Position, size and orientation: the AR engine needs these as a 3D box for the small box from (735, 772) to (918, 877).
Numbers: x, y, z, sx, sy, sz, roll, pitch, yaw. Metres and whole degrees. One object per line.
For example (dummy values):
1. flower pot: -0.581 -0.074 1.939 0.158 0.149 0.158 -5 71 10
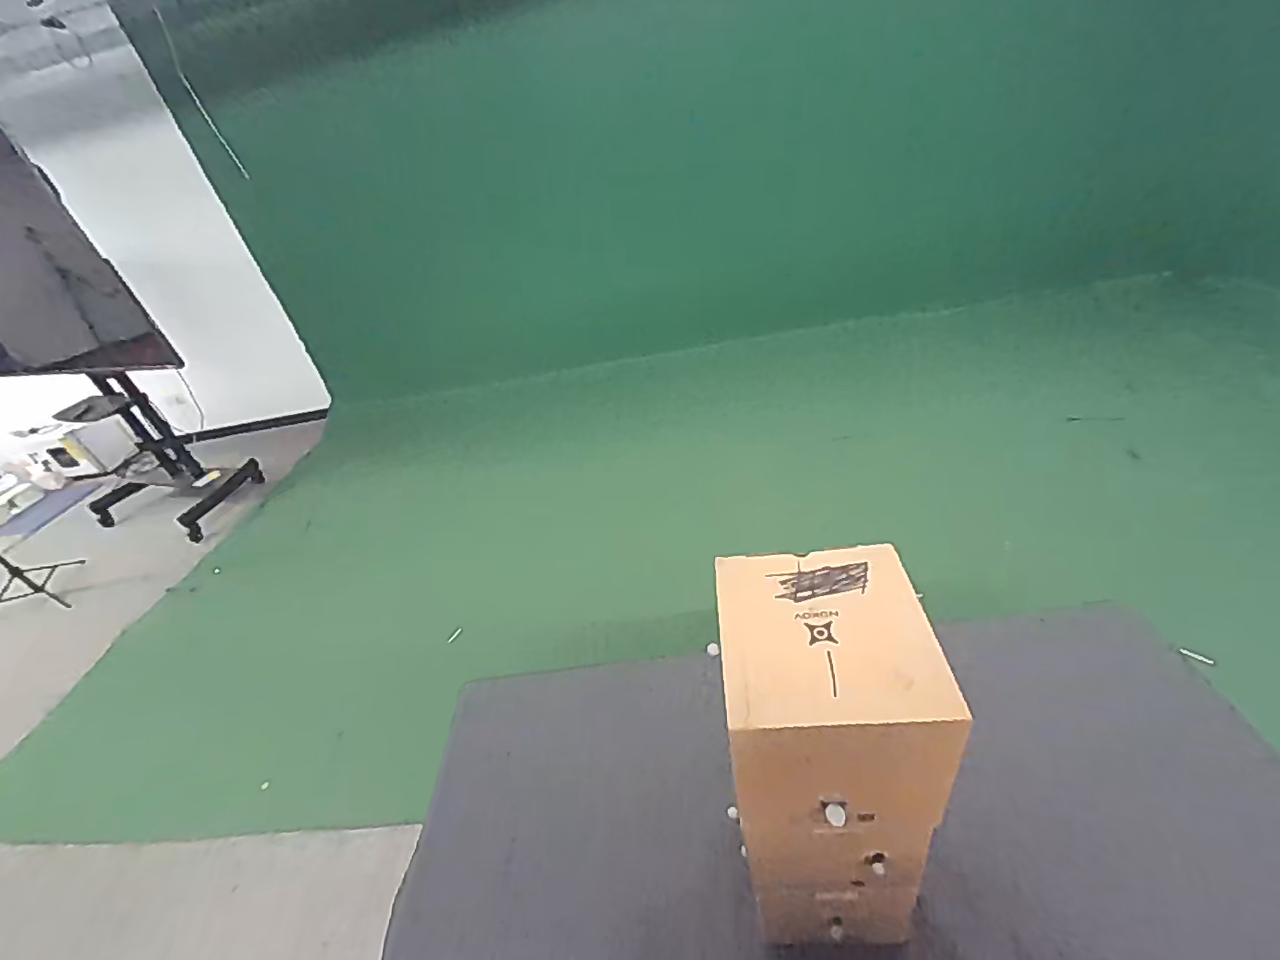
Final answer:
1. small box: 0.188 0.305 0.586 0.168 0.176 0.179 -7 35 7

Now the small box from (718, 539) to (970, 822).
1. small box: 0.161 0.177 0.487 0.168 0.176 0.179 -6 37 9

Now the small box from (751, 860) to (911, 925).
1. small box: 0.223 0.433 0.680 0.168 0.176 0.179 -7 36 9
